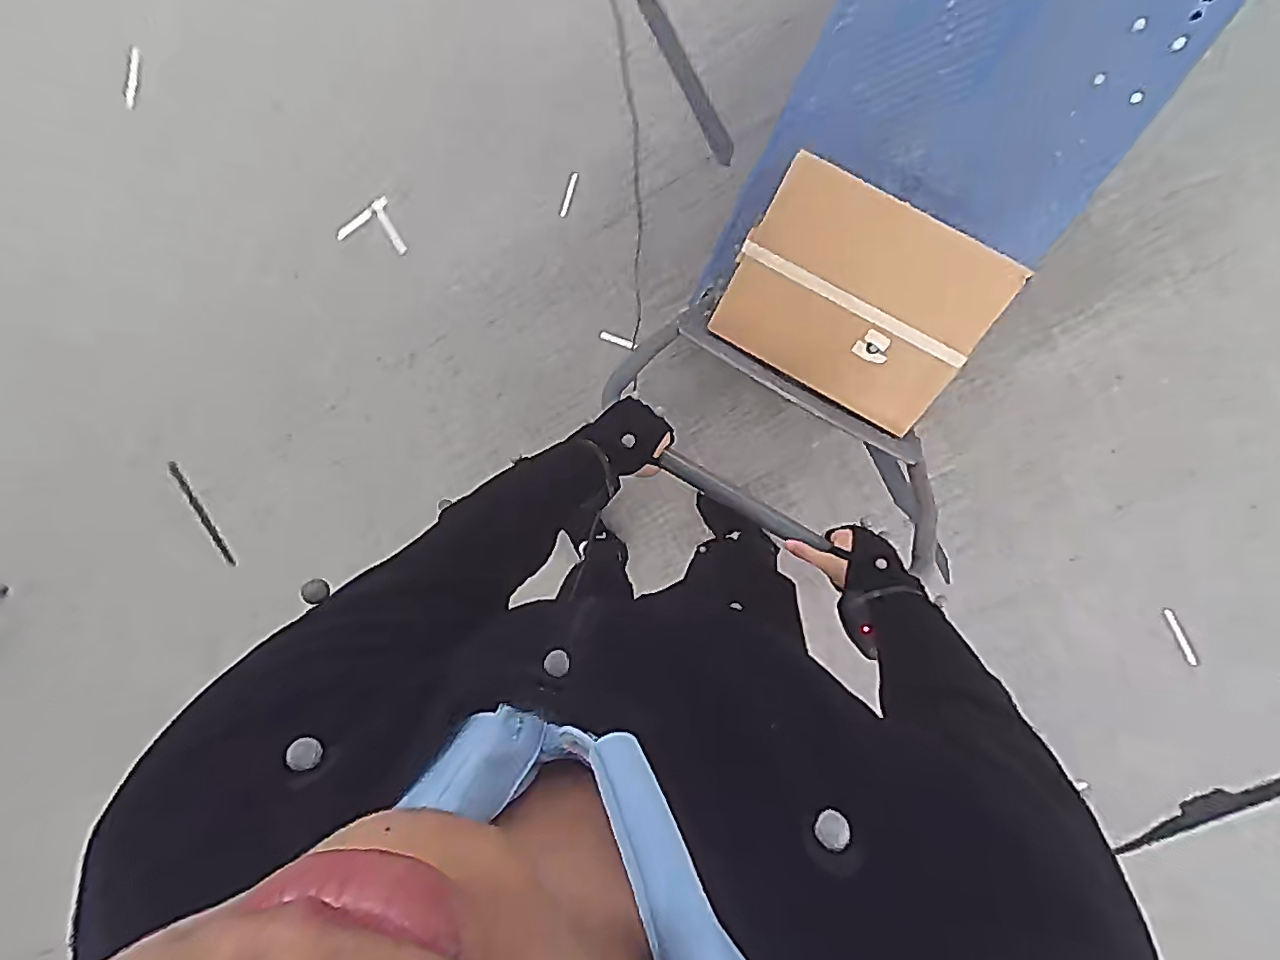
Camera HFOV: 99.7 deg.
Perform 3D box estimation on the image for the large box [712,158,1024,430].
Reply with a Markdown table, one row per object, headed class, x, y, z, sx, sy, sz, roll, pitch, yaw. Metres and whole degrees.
| class | x | y | z | sx | sy | sz | roll | pitch | yaw |
| --- | --- | --- | --- | --- | --- | --- | --- | --- | --- |
| large box | 0.403 | -0.359 | 1.048 | 0.408 | 0.320 | 0.320 | 30 | 120 | 3 |
